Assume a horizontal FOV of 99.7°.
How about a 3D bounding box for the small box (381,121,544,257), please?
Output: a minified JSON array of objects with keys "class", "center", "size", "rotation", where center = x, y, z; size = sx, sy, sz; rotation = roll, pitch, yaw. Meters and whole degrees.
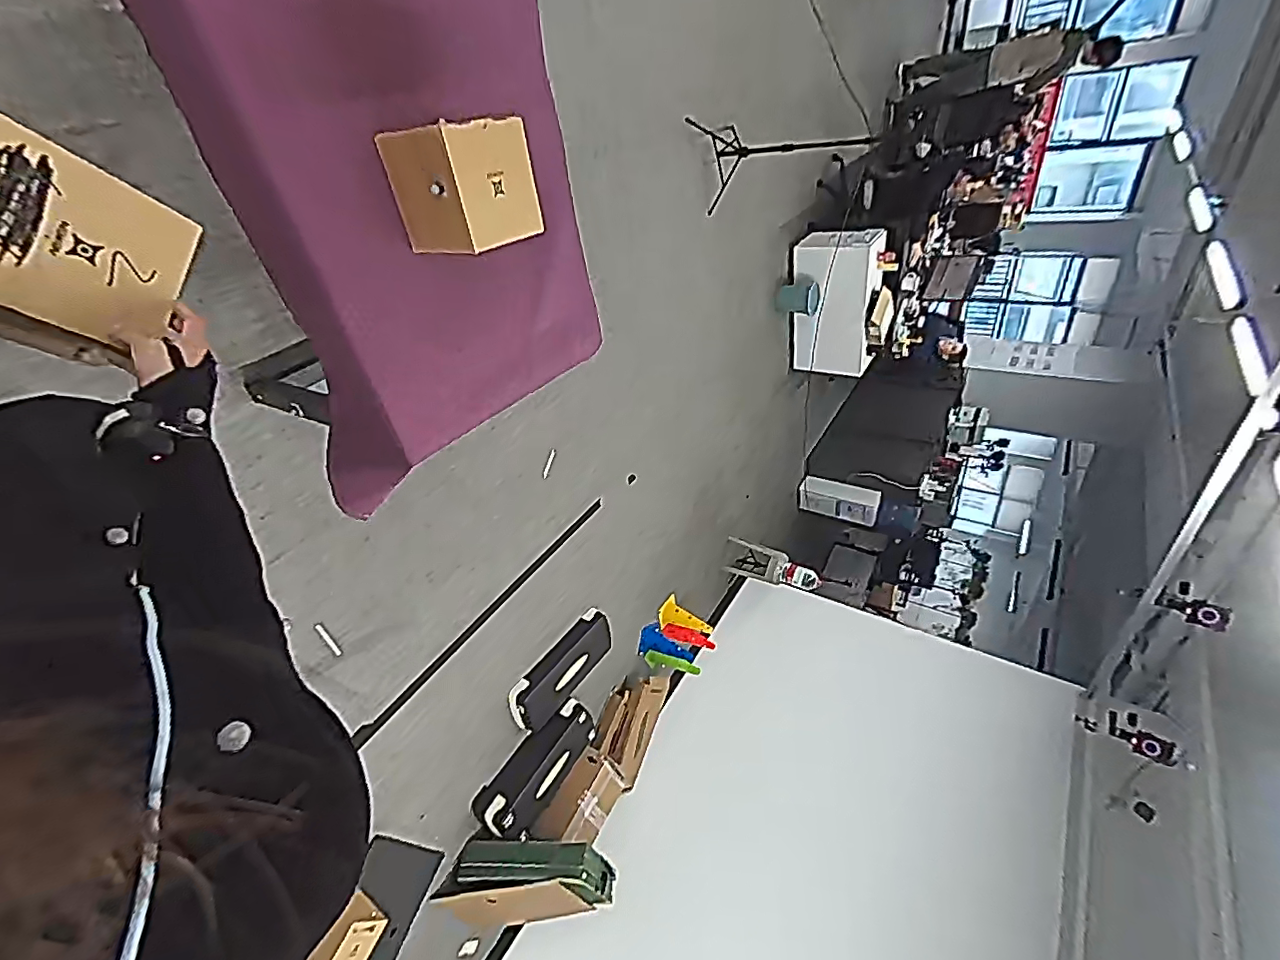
[{"class":"small box","center":[-0.293,-0.486,0.908],"size":[0.168,0.176,0.179],"rotation":[-43,136,-40]}]
